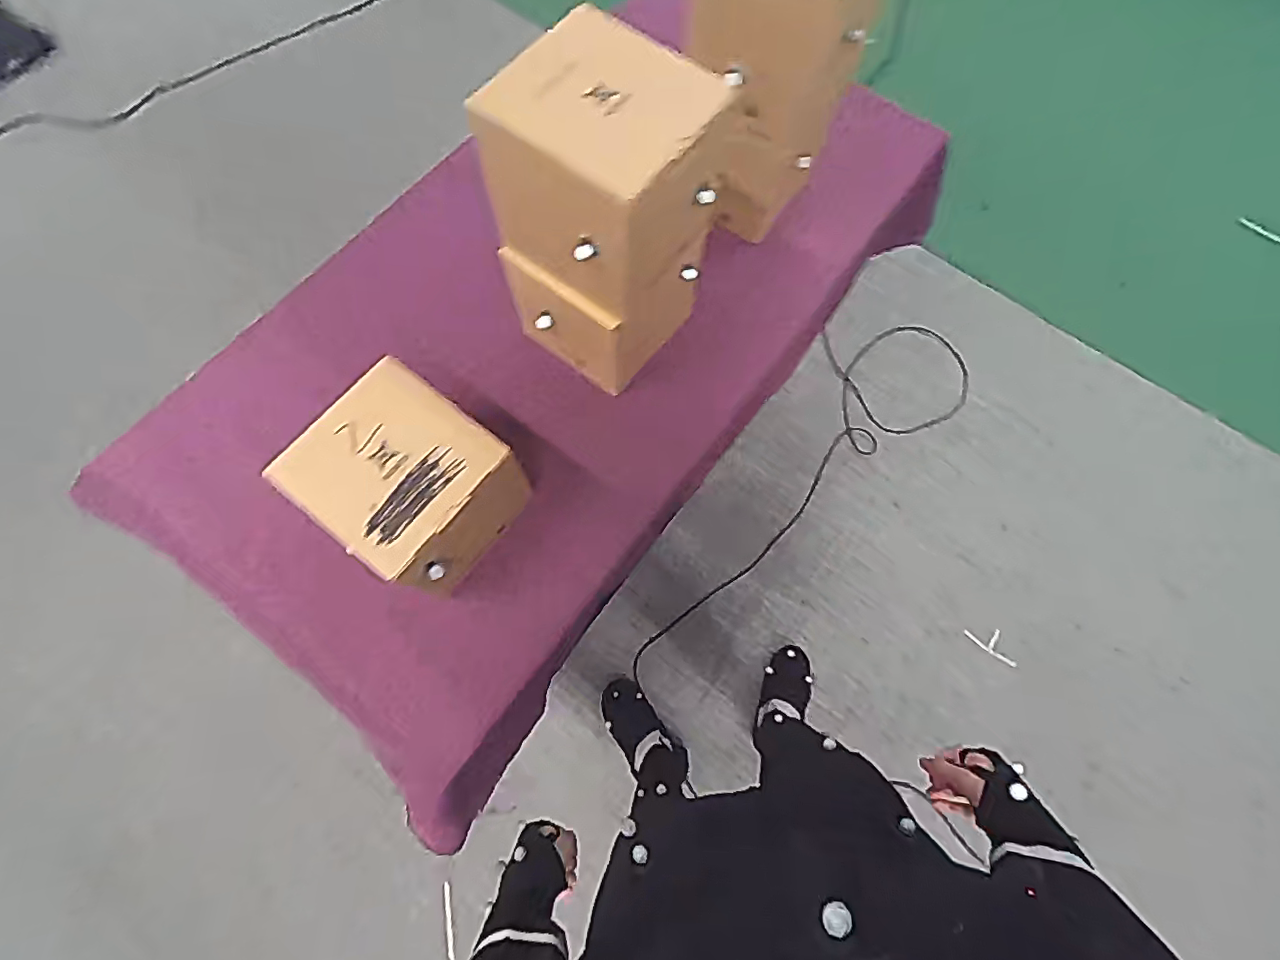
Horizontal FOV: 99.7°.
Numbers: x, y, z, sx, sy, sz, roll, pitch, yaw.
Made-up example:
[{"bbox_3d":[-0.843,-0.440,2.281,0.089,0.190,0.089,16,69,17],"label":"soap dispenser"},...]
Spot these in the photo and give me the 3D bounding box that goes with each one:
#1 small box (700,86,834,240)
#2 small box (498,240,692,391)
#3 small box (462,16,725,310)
[{"bbox_3d":[0.150,-0.492,0.786,0.168,0.176,0.179,33,75,8],"label":"small box"},{"bbox_3d":[-0.051,-0.248,0.704,0.168,0.176,0.179,36,74,10],"label":"small box"},{"bbox_3d":[-0.042,-0.304,0.551,0.179,0.176,0.168,35,73,10],"label":"small box"}]
